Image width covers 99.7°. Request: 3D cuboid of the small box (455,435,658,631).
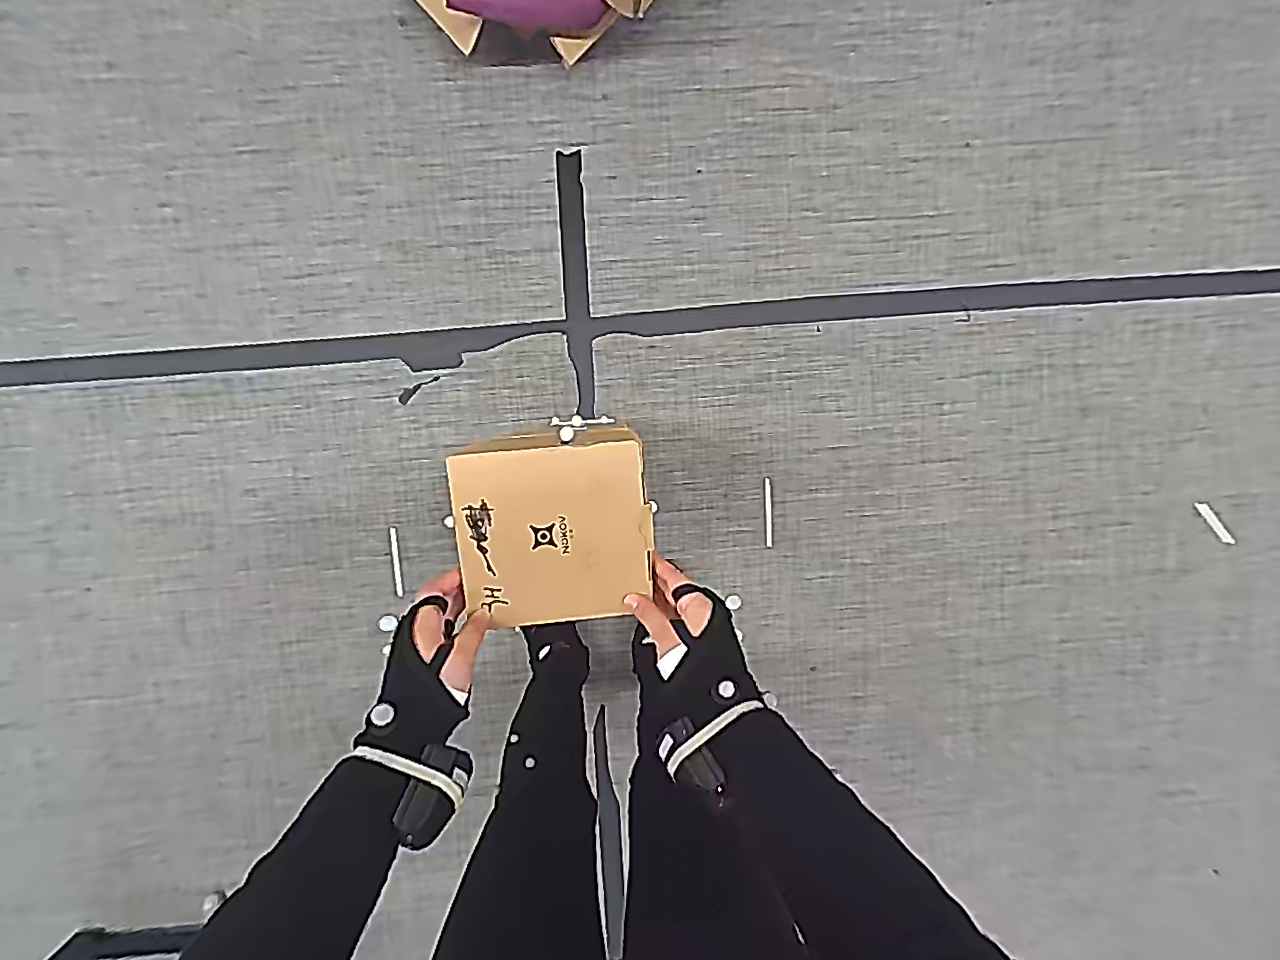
[{"bbox_3d":[-0.082,0.043,0.575,0.179,0.176,0.168,-5,98,-4],"label":"small box"}]
